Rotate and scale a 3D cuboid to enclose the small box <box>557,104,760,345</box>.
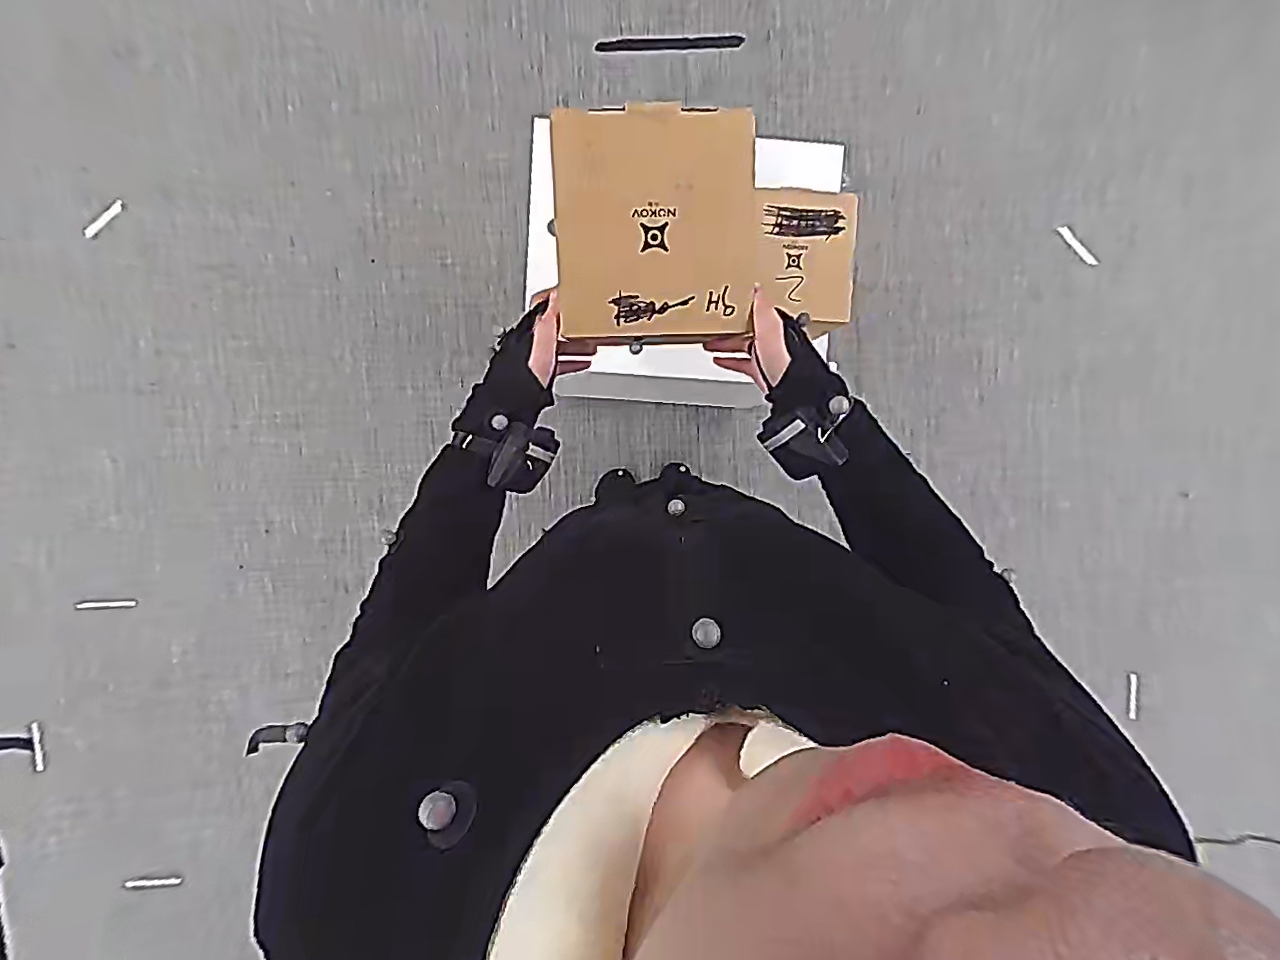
[{"bbox_3d":[0.011,-0.225,0.518,0.168,0.176,0.179,-2,102,-2],"label":"small box"}]
